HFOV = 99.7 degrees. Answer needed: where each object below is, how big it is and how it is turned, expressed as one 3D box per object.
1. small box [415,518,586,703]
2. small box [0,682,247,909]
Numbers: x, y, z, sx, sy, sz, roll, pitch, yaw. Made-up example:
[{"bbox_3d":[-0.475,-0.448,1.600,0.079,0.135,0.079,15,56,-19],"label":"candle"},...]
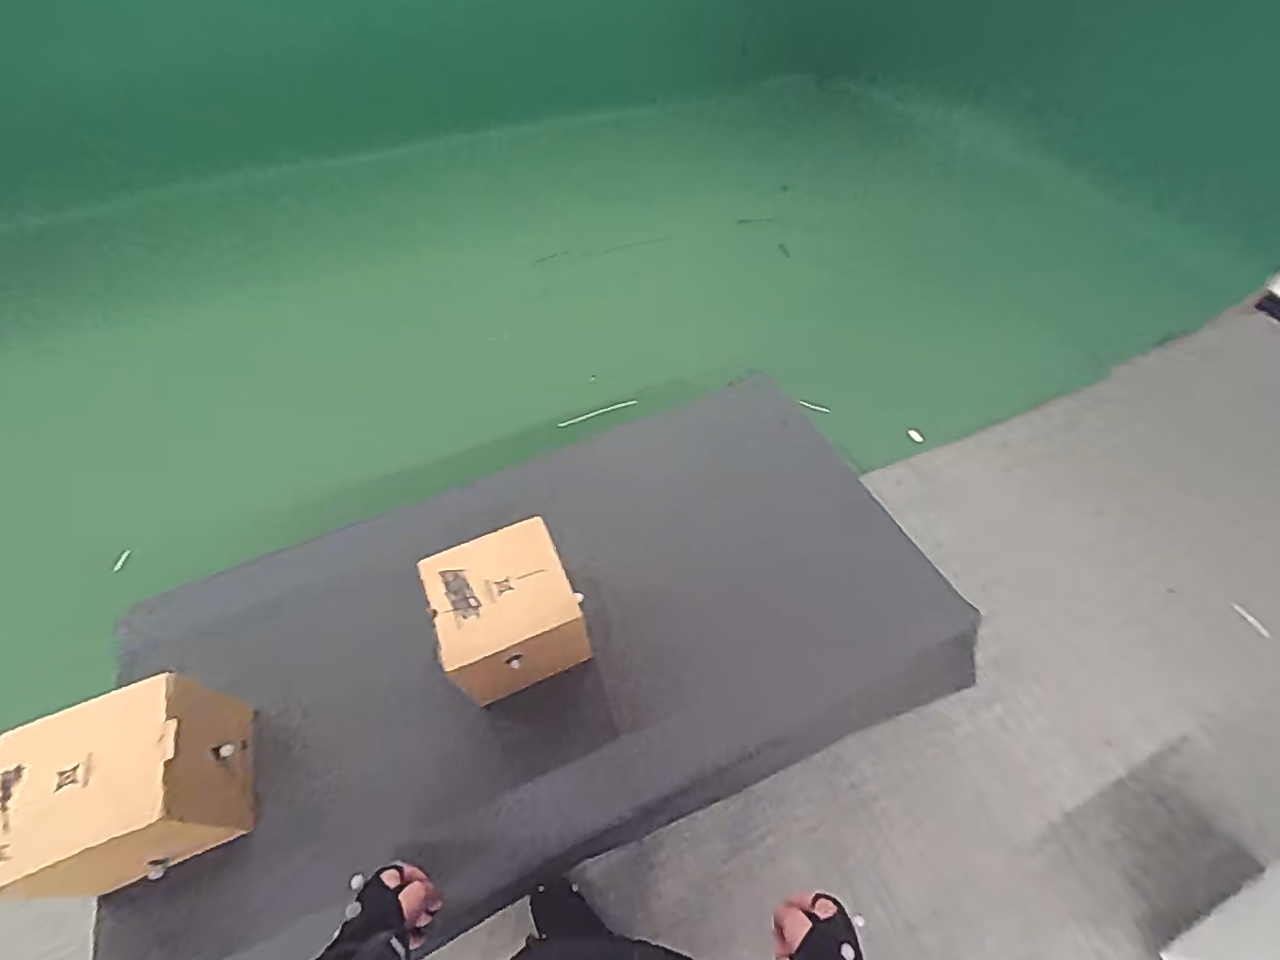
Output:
[{"bbox_3d":[-0.189,0.188,0.762,0.179,0.176,0.168,-21,57,-14],"label":"small box"},{"bbox_3d":[-0.602,0.370,0.642,0.179,0.176,0.168,-20,56,-14],"label":"small box"}]
